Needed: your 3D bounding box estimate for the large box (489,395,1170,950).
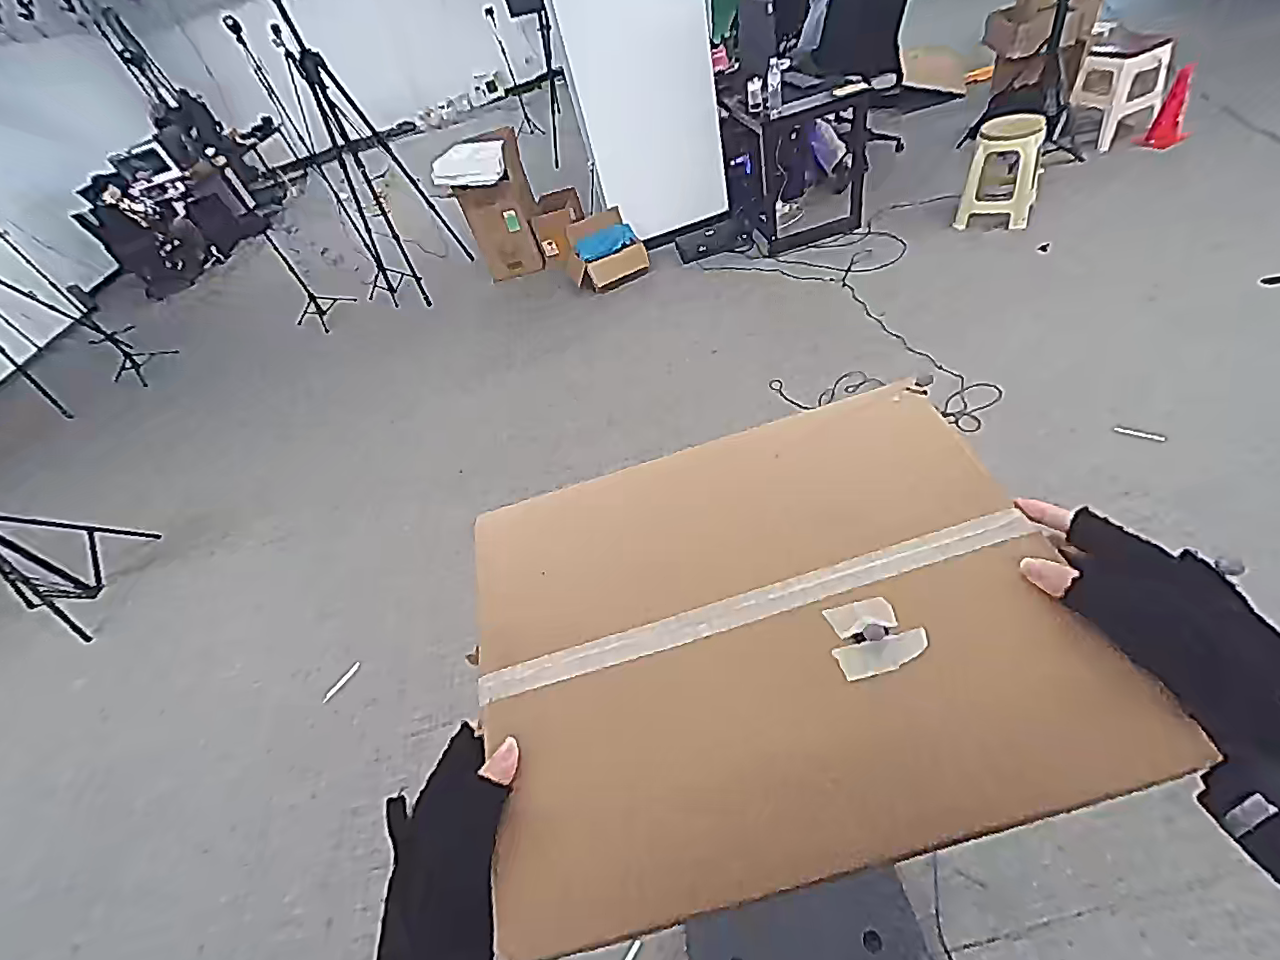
[{"bbox_3d":[0.112,0.184,0.519,0.408,0.320,0.320,-18,53,1],"label":"large box"}]
